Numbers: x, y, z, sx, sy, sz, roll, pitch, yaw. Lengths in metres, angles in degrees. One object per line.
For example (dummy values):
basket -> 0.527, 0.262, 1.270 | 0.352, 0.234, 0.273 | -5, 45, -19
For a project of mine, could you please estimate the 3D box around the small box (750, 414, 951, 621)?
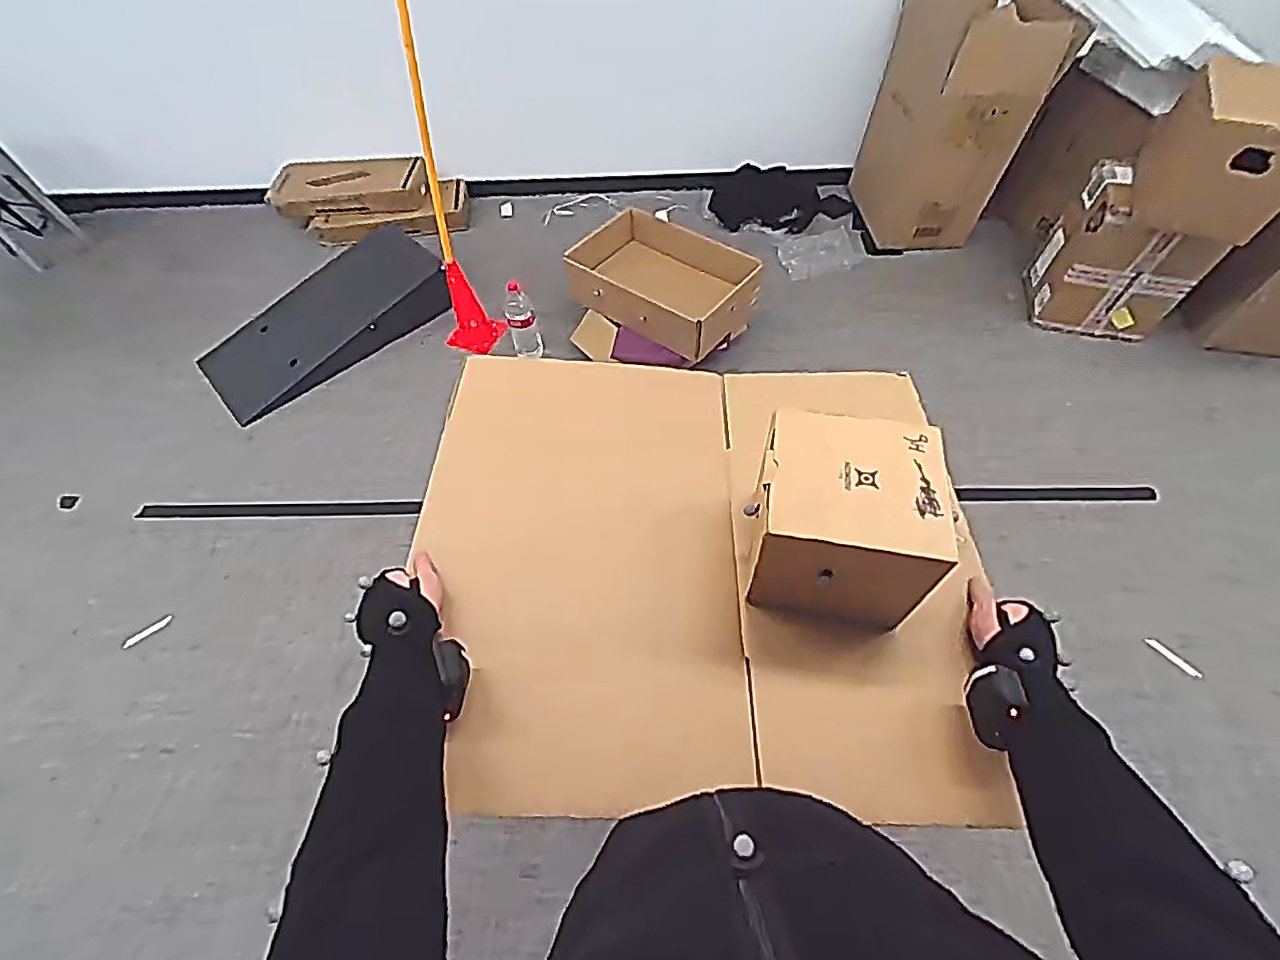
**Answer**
small box -> 0.225, 0.047, 0.621 | 0.179, 0.176, 0.168 | 7, 56, 10
